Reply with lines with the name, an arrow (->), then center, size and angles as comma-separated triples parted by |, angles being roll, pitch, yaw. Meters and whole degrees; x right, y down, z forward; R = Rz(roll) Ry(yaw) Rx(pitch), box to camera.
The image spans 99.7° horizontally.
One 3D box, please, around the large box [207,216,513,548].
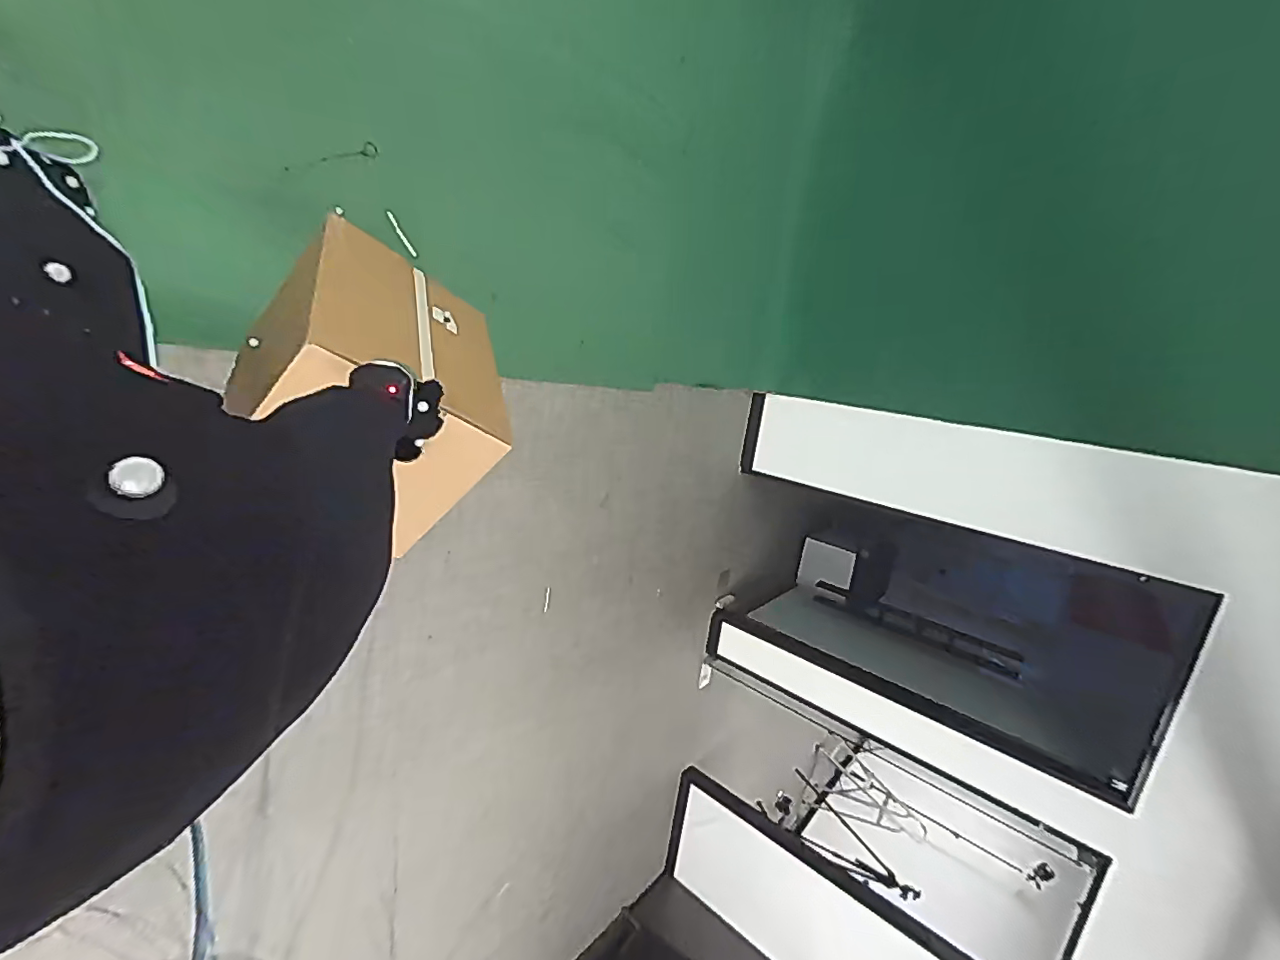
large box -> -0.463, -0.155, 0.922 | 0.320, 0.408, 0.320 | -41, 137, 18
